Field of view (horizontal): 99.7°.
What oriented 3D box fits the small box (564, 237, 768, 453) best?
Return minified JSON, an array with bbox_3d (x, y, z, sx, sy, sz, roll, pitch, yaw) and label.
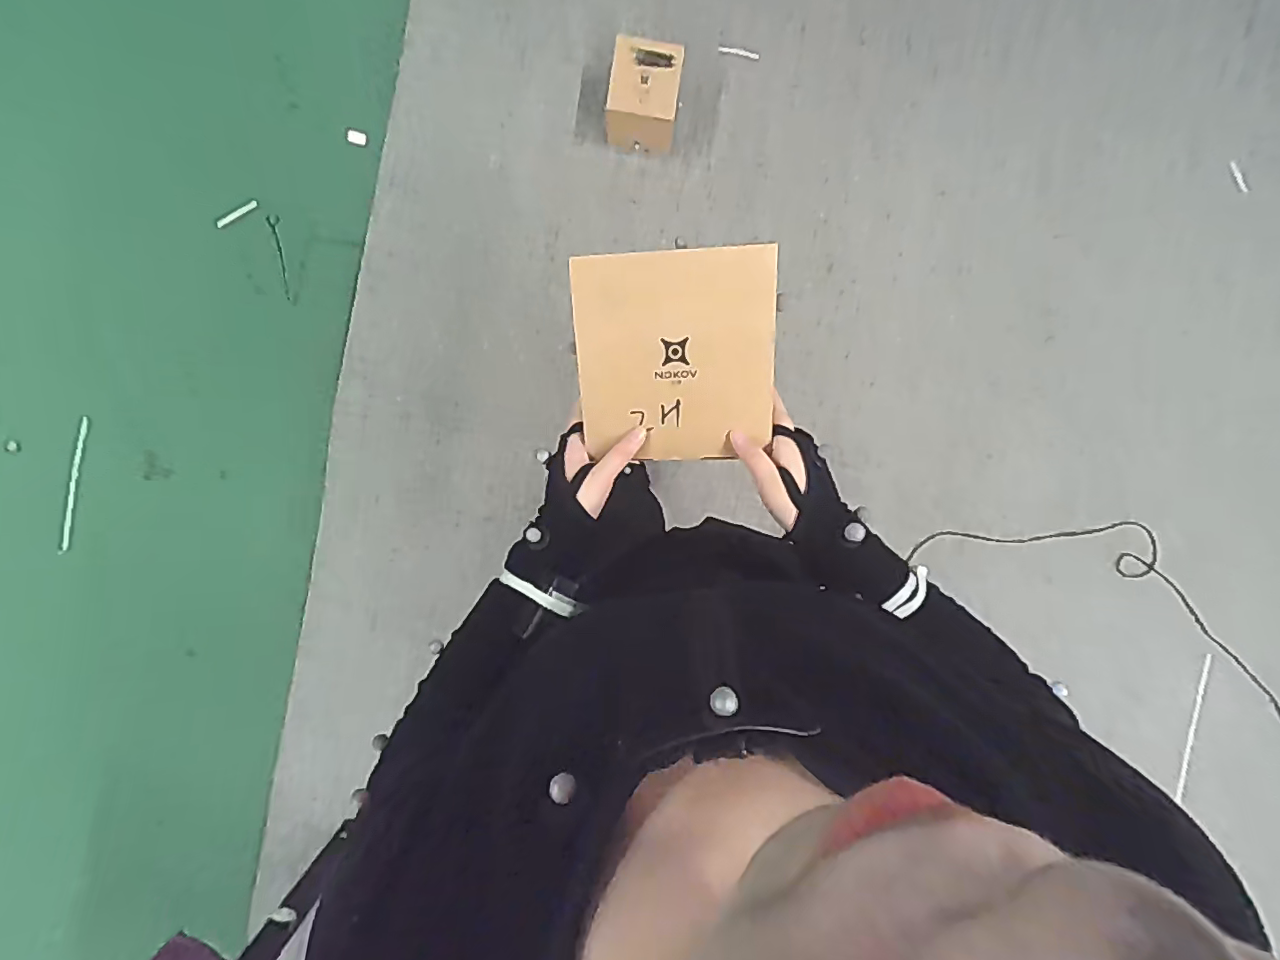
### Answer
[{"bbox_3d":[0.029,-0.133,0.531,0.168,0.176,0.179,0,110,7],"label":"small box"}]
